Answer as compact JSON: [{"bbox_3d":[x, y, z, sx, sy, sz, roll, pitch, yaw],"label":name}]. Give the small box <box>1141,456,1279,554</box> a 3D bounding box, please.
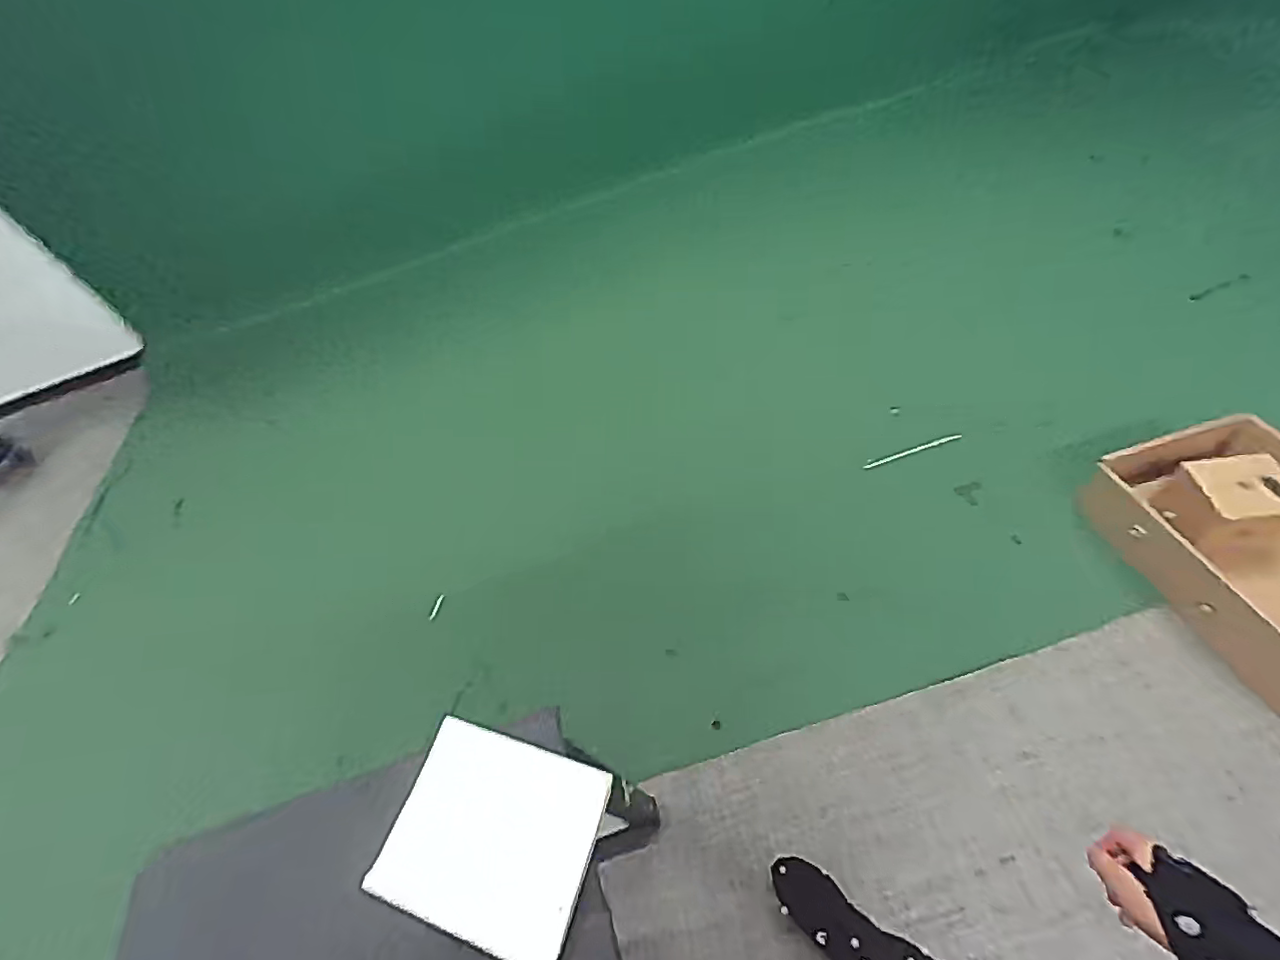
[{"bbox_3d":[1.382,0.065,1.301,0.179,0.176,0.168,-6,52,10],"label":"small box"}]
